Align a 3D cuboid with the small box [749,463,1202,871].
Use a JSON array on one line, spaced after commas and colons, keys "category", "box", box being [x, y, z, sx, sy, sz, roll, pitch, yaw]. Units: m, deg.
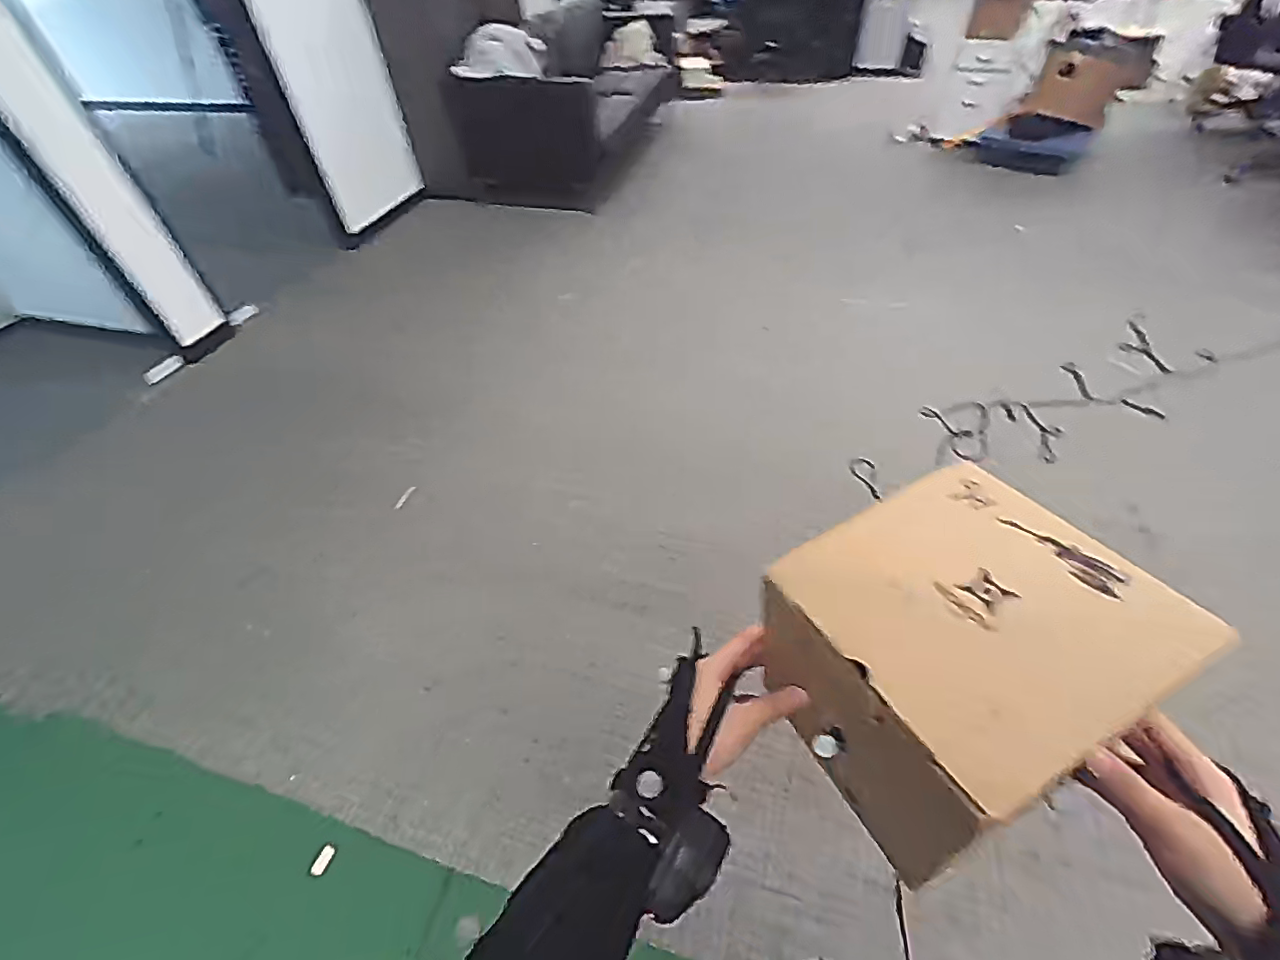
[{"category": "small box", "box": [0.196, 0.126, 0.370, 0.179, 0.176, 0.168, -26, 45, -13]}]
